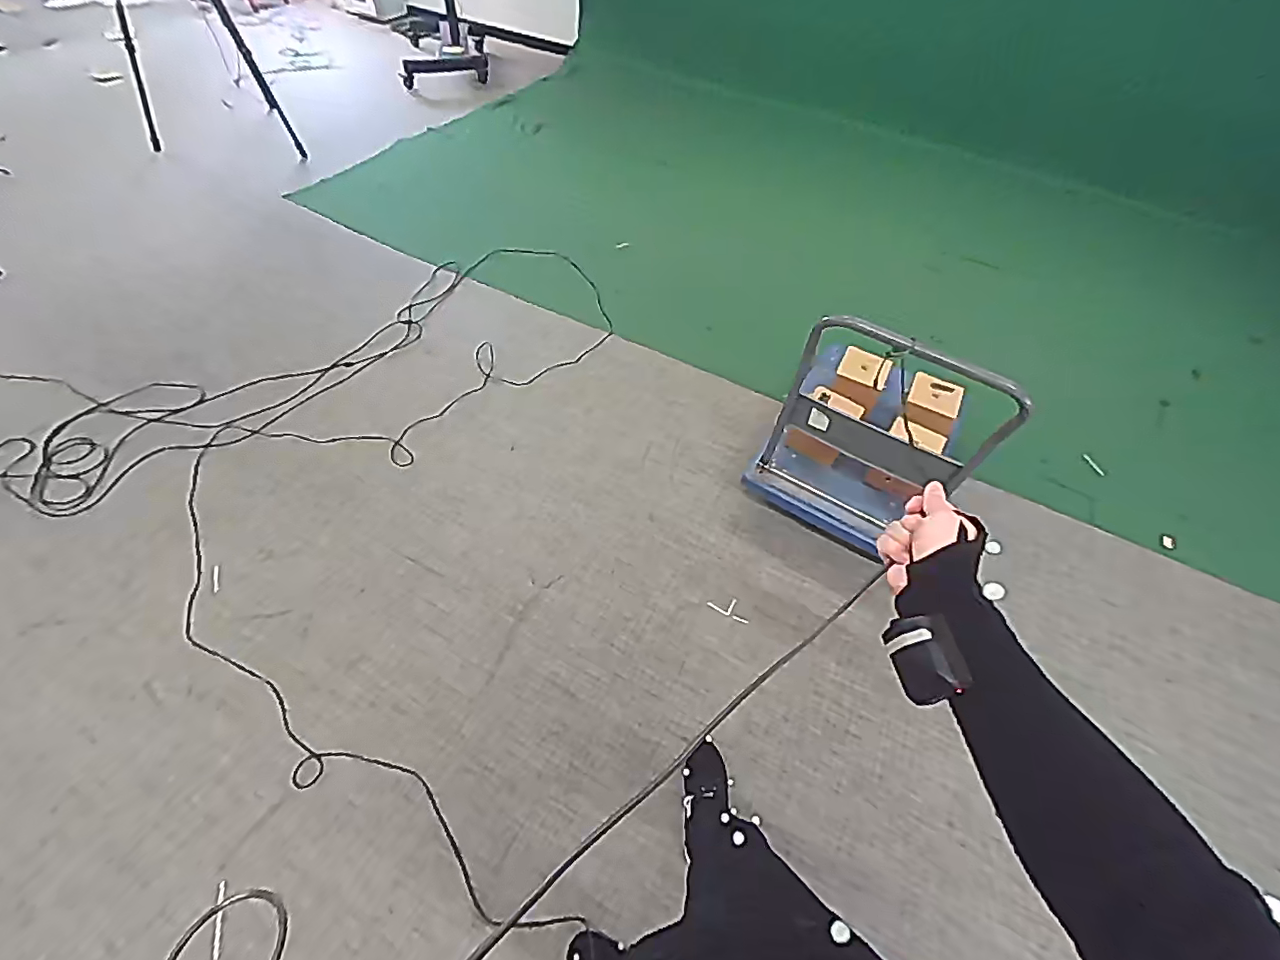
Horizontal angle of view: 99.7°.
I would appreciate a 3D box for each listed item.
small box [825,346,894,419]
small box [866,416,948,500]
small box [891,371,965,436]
[{"bbox_3d":[0.797,-0.353,1.982,0.168,0.176,0.179,26,56,14],"label":"small box"},{"bbox_3d":[0.872,-0.071,1.779,0.168,0.176,0.179,30,58,17],"label":"small box"},{"bbox_3d":[1.018,-0.249,1.920,0.168,0.176,0.179,25,57,15],"label":"small box"}]
